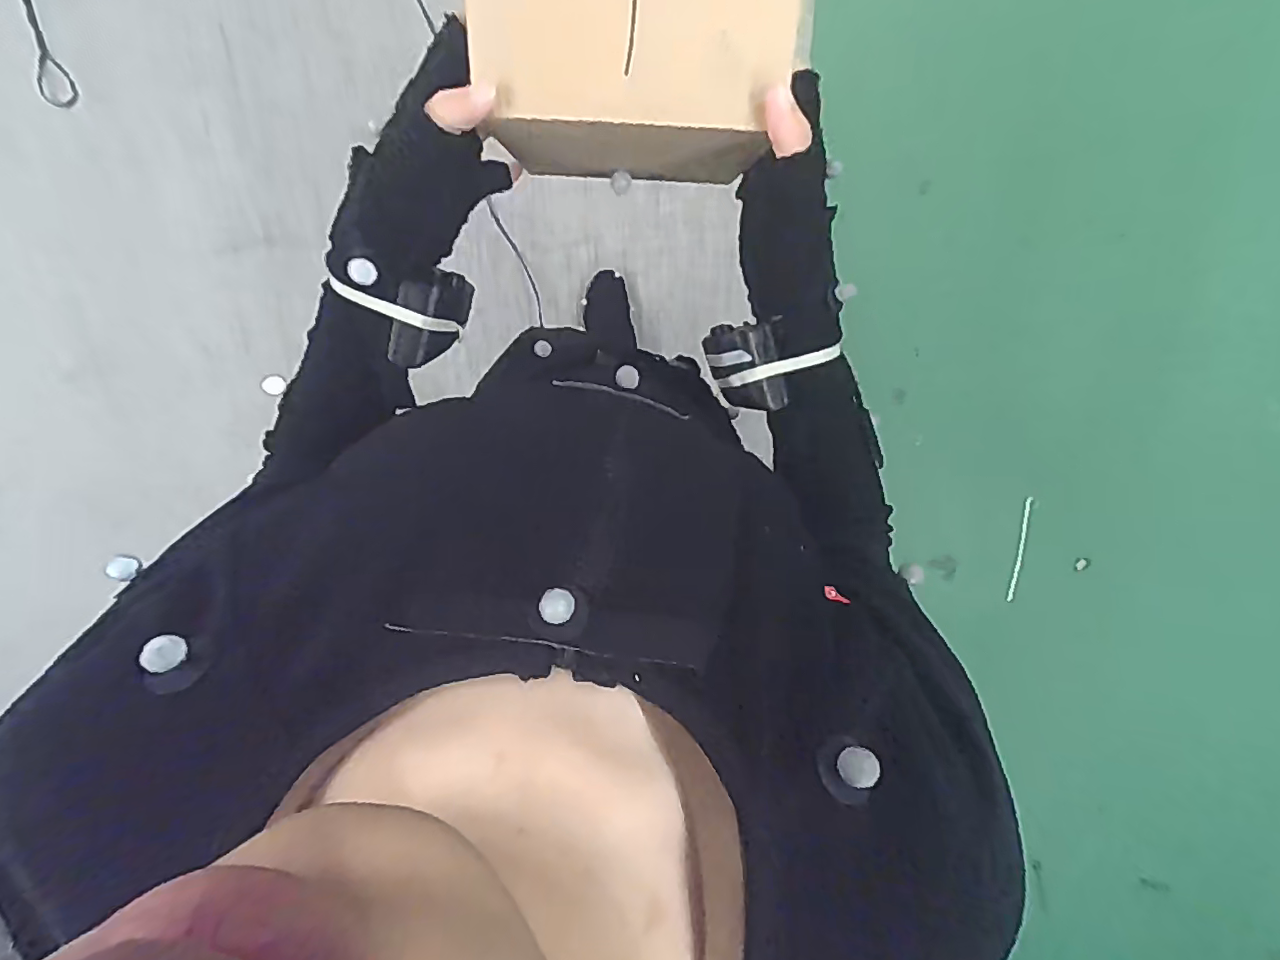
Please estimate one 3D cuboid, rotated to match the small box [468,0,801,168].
[{"bbox_3d":[-0.002,-0.306,0.323,0.168,0.176,0.179,2,111,-1],"label":"small box"}]
